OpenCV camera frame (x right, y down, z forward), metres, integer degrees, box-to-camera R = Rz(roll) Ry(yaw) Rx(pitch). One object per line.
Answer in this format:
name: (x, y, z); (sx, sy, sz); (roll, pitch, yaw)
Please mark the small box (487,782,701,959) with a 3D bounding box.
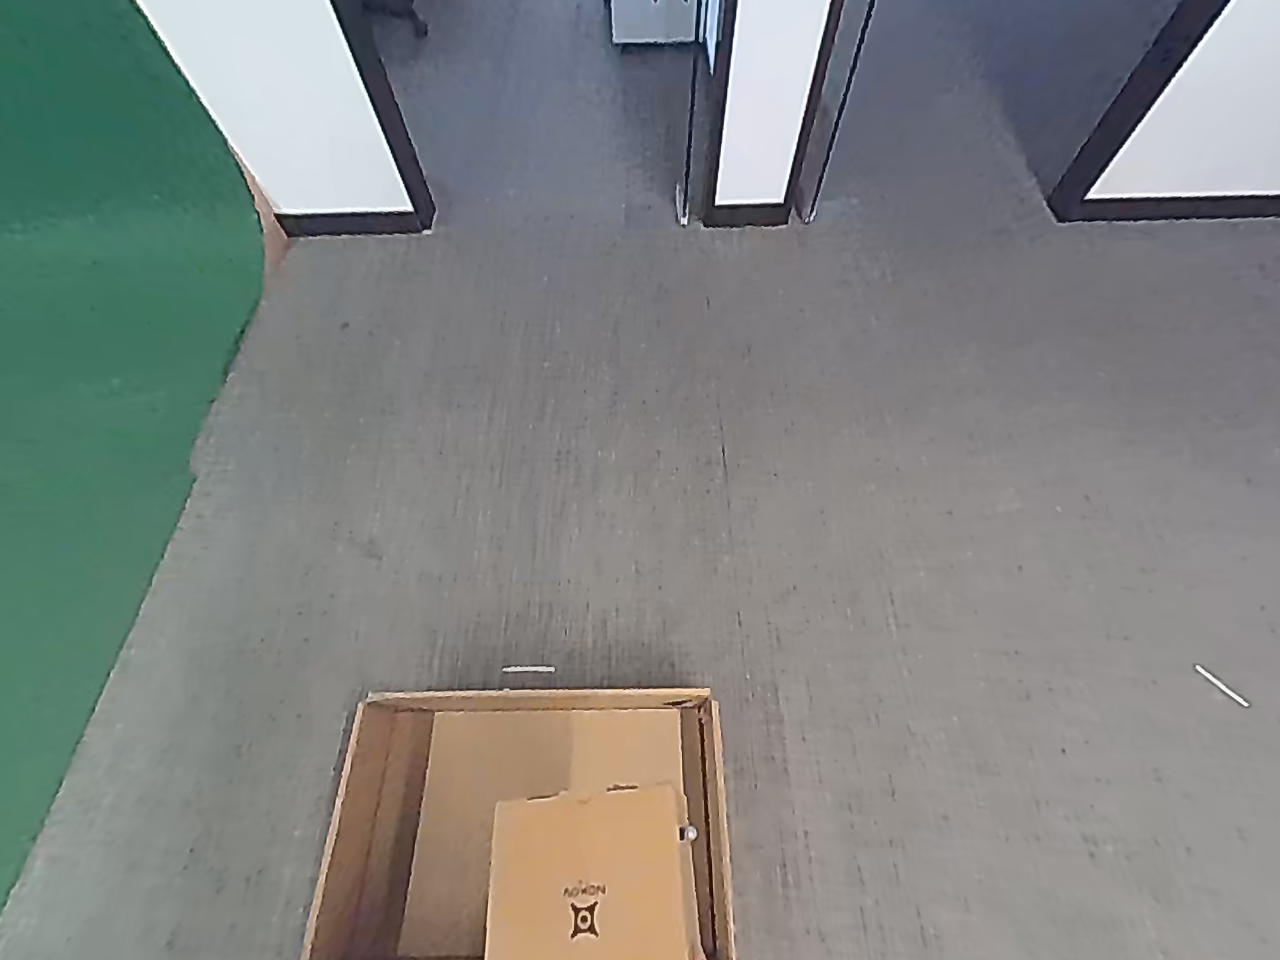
small box: (-0.034, 0.402, 0.517); (0.168, 0.176, 0.179); (-8, 54, 4)
